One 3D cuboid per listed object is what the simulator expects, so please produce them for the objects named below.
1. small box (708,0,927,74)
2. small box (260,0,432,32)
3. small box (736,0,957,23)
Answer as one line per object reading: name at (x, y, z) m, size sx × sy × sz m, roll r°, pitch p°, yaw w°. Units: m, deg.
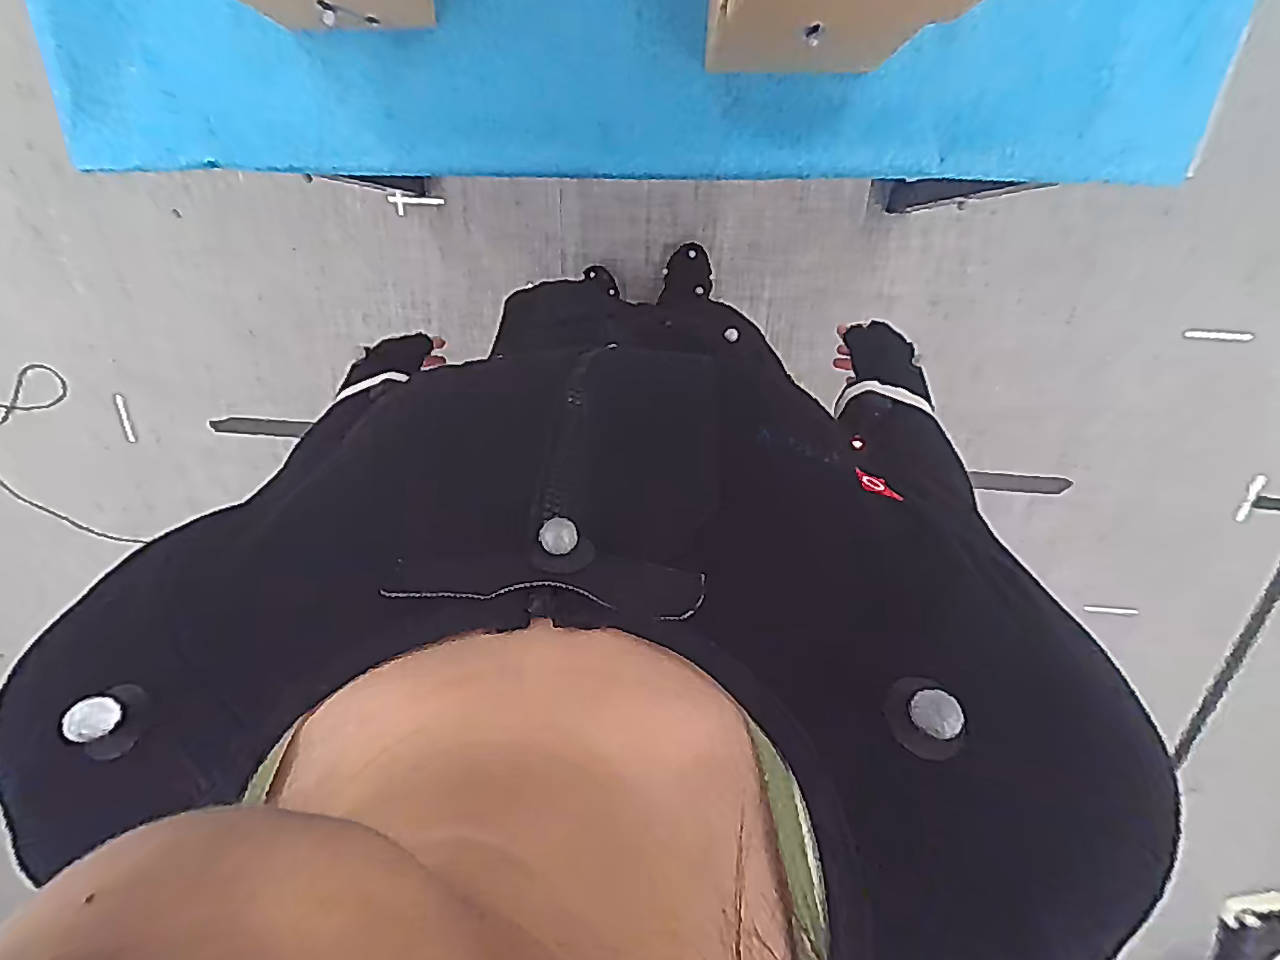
small box at (0.152, -0.464, 0.453) m, size 0.179 × 0.176 × 0.168 m, roll 3°, pitch 114°, yaw 2°
small box at (-0.295, -0.522, 0.459) m, size 0.168 × 0.176 × 0.179 m, roll 6°, pitch 115°, yaw 2°
small box at (0.150, -0.393, 0.307) m, size 0.179 × 0.176 × 0.168 m, roll -1°, pitch 113°, yaw 3°
